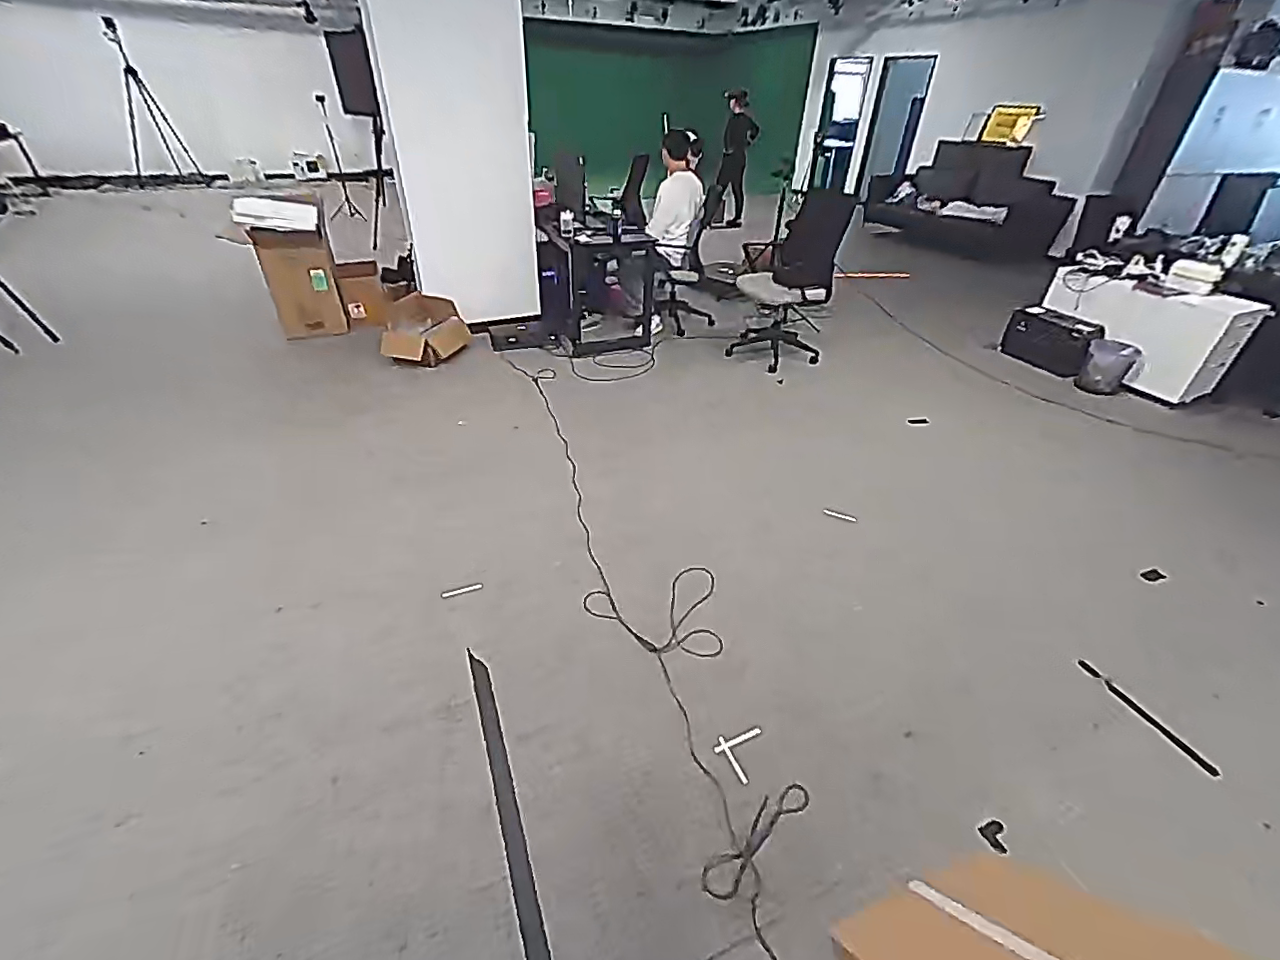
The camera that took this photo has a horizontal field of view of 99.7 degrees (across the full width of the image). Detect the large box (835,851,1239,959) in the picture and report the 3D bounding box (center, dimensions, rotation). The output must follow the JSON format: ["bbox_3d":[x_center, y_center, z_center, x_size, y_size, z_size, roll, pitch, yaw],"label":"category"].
[{"bbox_3d":[0.509,0.721,0.627,0.320,0.408,0.320,-14,77,-16],"label":"large box"}]
